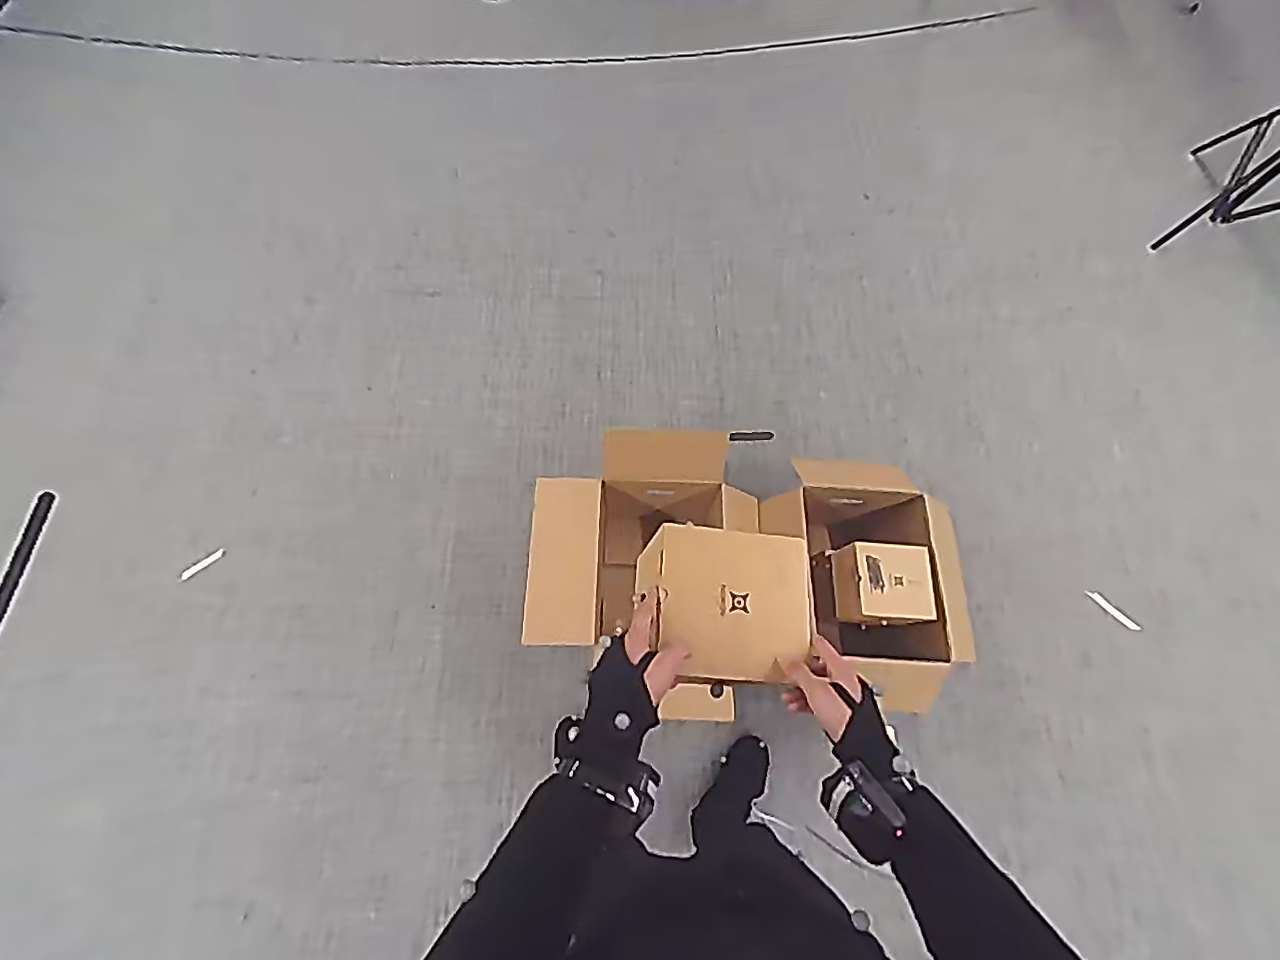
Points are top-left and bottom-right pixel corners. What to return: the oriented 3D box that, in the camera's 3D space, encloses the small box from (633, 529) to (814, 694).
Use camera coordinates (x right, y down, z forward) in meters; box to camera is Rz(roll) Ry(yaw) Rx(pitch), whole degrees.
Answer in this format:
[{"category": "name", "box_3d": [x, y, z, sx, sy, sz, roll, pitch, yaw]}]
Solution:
[{"category": "small box", "box_3d": [0.094, 0.168, 0.665, 0.179, 0.176, 0.168, 6, 68, -6]}]
